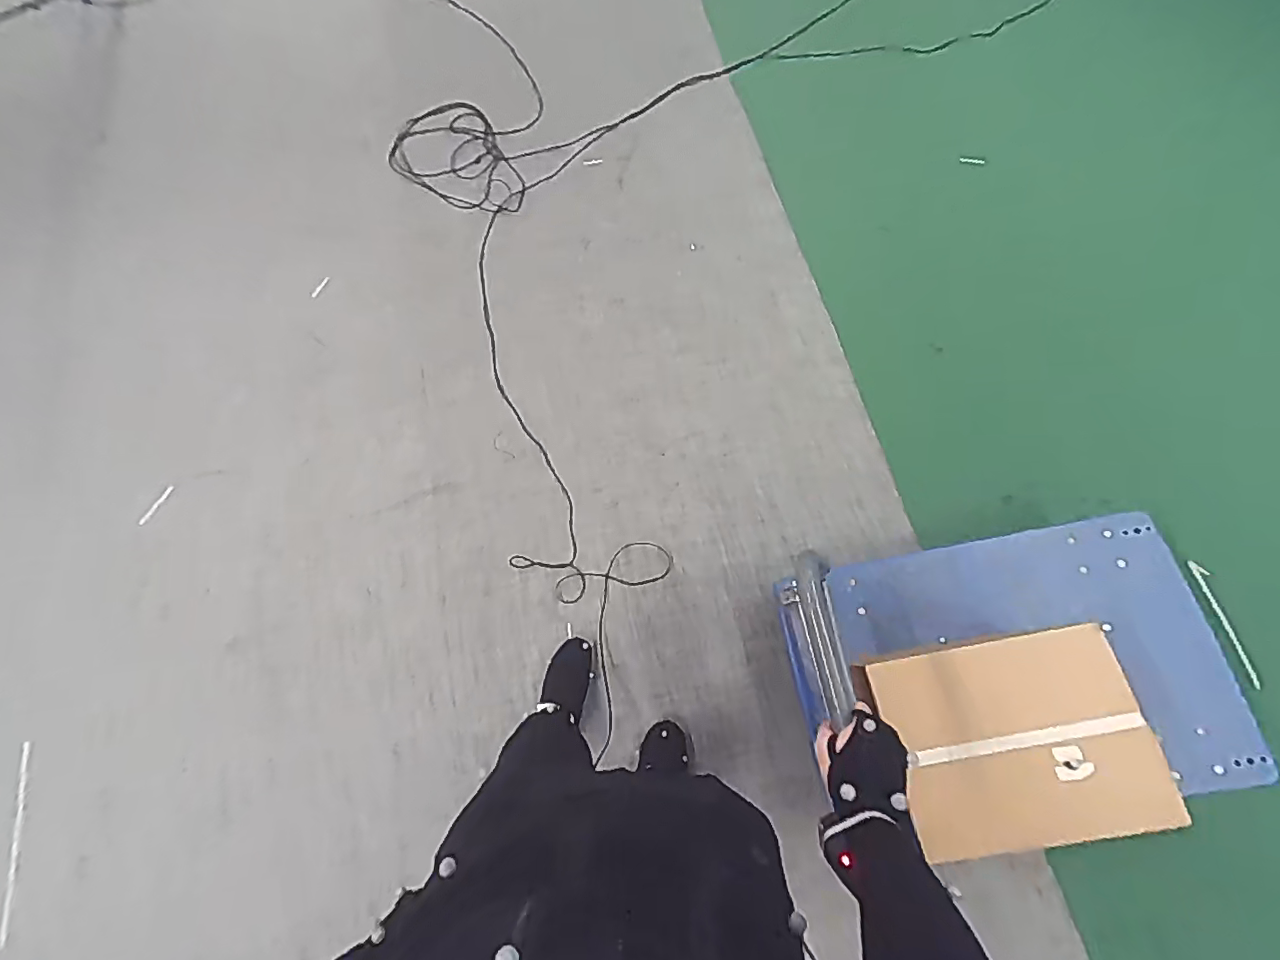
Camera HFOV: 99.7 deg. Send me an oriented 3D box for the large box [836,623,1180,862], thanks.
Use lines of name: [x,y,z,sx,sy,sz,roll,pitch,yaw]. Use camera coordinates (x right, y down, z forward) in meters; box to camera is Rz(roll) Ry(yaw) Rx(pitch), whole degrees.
large box: [0.651,0.485,1.053,0.408,0.320,0.320,-13,70,5]
